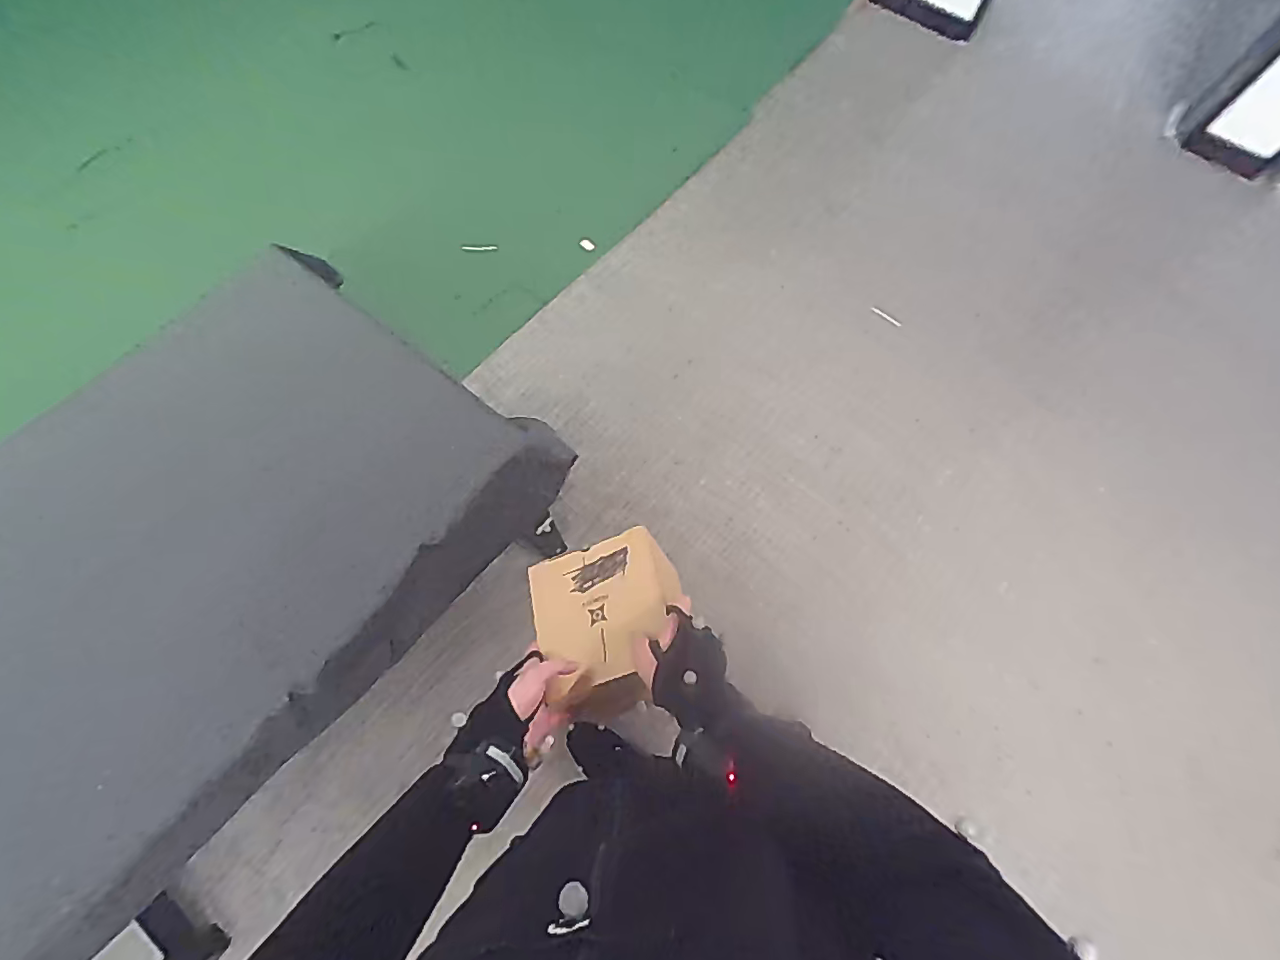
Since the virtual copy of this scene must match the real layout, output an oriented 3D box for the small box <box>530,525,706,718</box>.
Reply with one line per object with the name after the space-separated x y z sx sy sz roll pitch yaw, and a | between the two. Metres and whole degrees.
-0.026 0.192 0.709 0.168 0.176 0.179 -21 55 8 | small box
